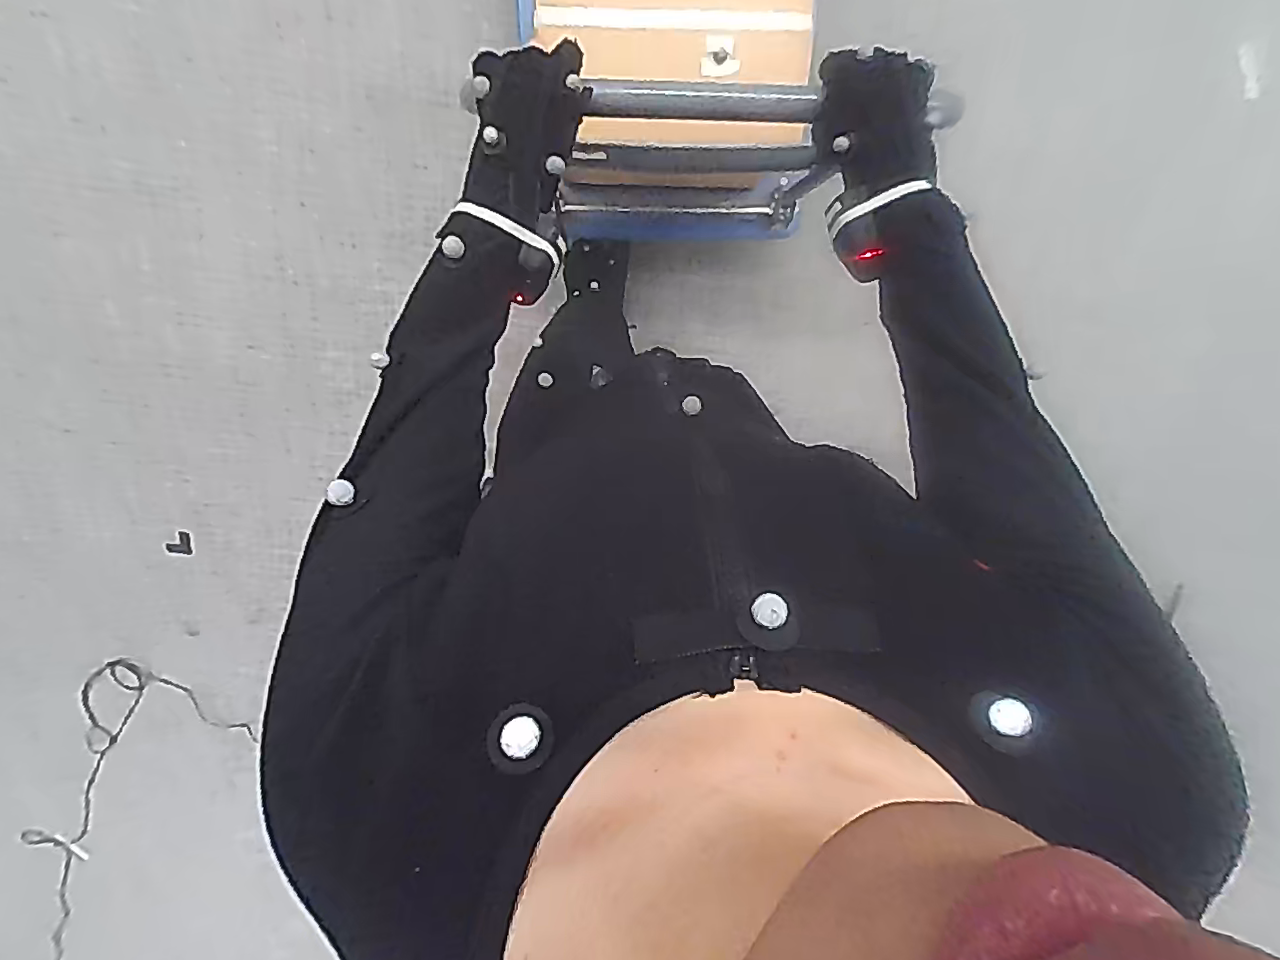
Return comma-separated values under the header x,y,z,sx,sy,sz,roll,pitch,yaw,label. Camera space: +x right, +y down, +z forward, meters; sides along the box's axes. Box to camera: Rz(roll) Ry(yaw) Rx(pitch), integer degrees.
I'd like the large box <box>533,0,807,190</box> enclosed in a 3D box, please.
x,y,z,sx,sy,sz,roll,pitch,yaw,label
0.038,-0.704,0.931,0.408,0.320,0.320,-1,108,-3,large box
